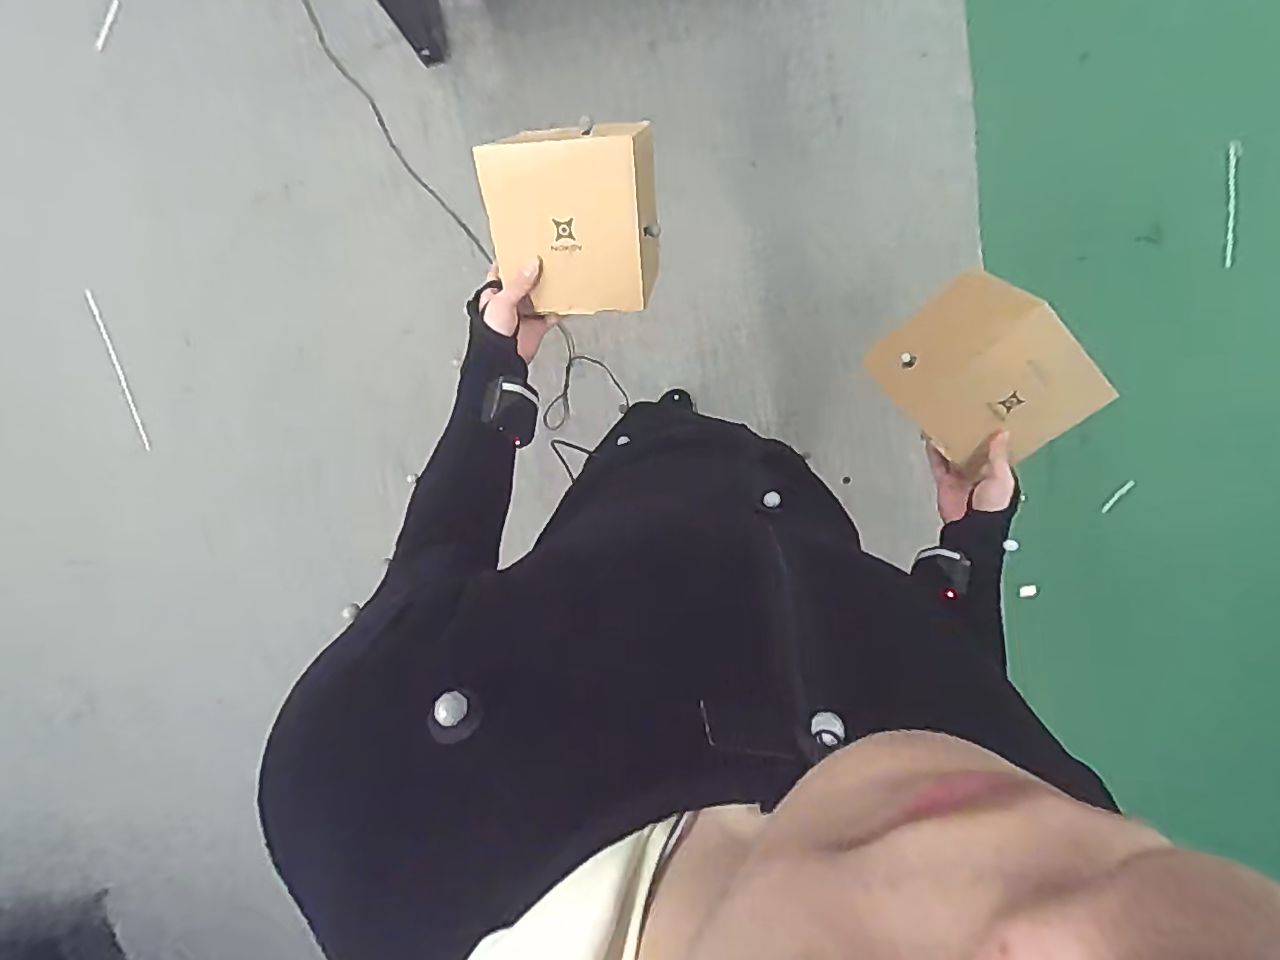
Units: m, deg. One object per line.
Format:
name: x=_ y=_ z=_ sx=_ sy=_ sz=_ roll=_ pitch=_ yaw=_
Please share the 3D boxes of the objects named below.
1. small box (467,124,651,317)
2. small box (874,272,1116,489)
small box: x=-0.078 y=-0.308 z=0.634 sx=0.168 sy=0.176 sz=0.179 roll=0 pitch=128 yaw=8
small box: x=0.425 y=-0.129 z=0.685 sx=0.168 sy=0.176 sz=0.179 roll=36 pitch=118 yaw=-20
